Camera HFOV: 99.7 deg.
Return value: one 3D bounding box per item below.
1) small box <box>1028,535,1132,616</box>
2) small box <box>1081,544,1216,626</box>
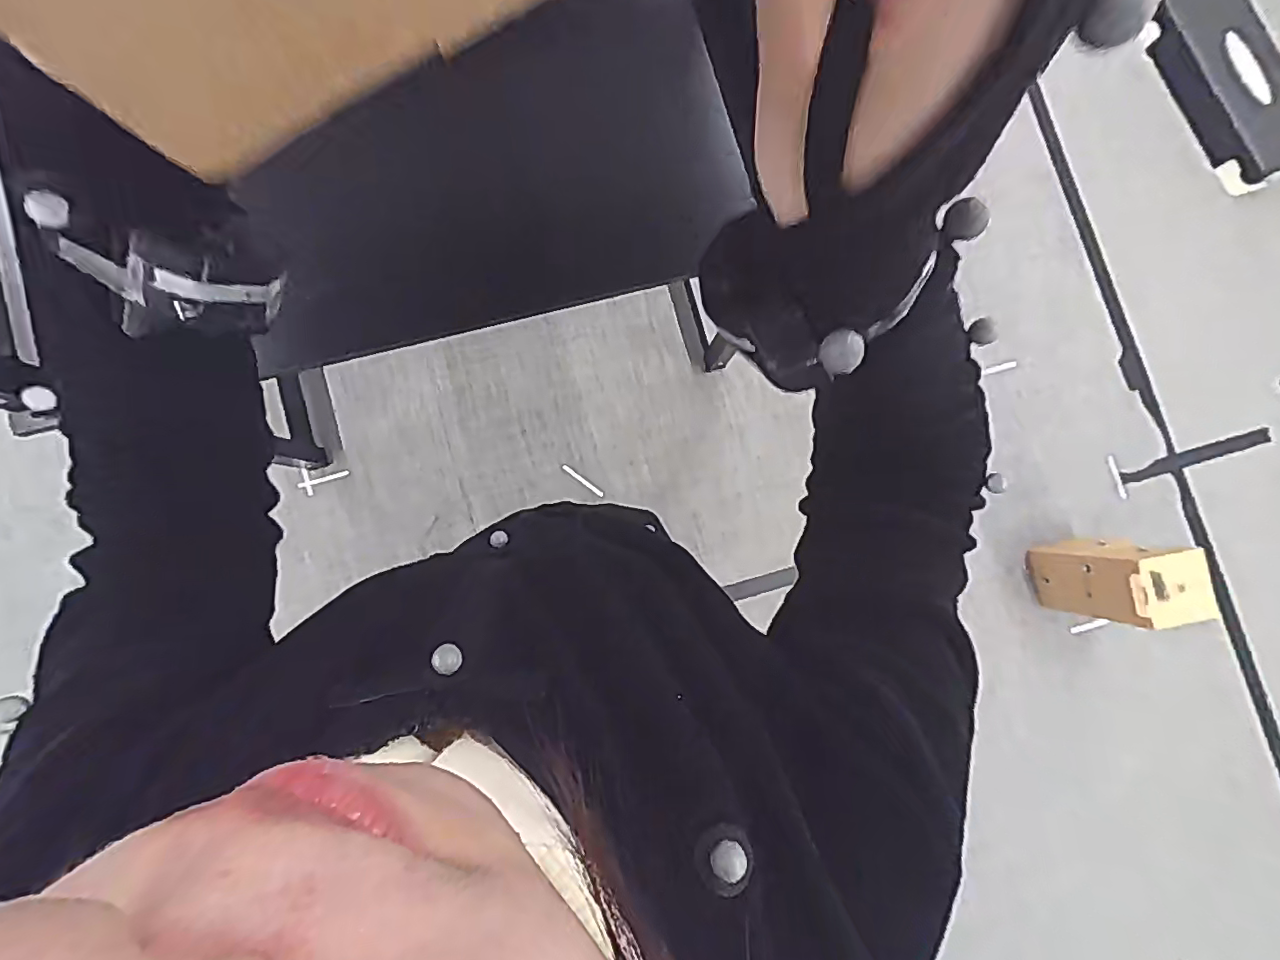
[{"bbox_3d":[1.236,0.259,1.505,0.168,0.176,0.179,-14,88,-5],"label":"small box"},{"bbox_3d":[1.243,0.254,1.341,0.179,0.176,0.168,-9,87,-5],"label":"small box"}]
